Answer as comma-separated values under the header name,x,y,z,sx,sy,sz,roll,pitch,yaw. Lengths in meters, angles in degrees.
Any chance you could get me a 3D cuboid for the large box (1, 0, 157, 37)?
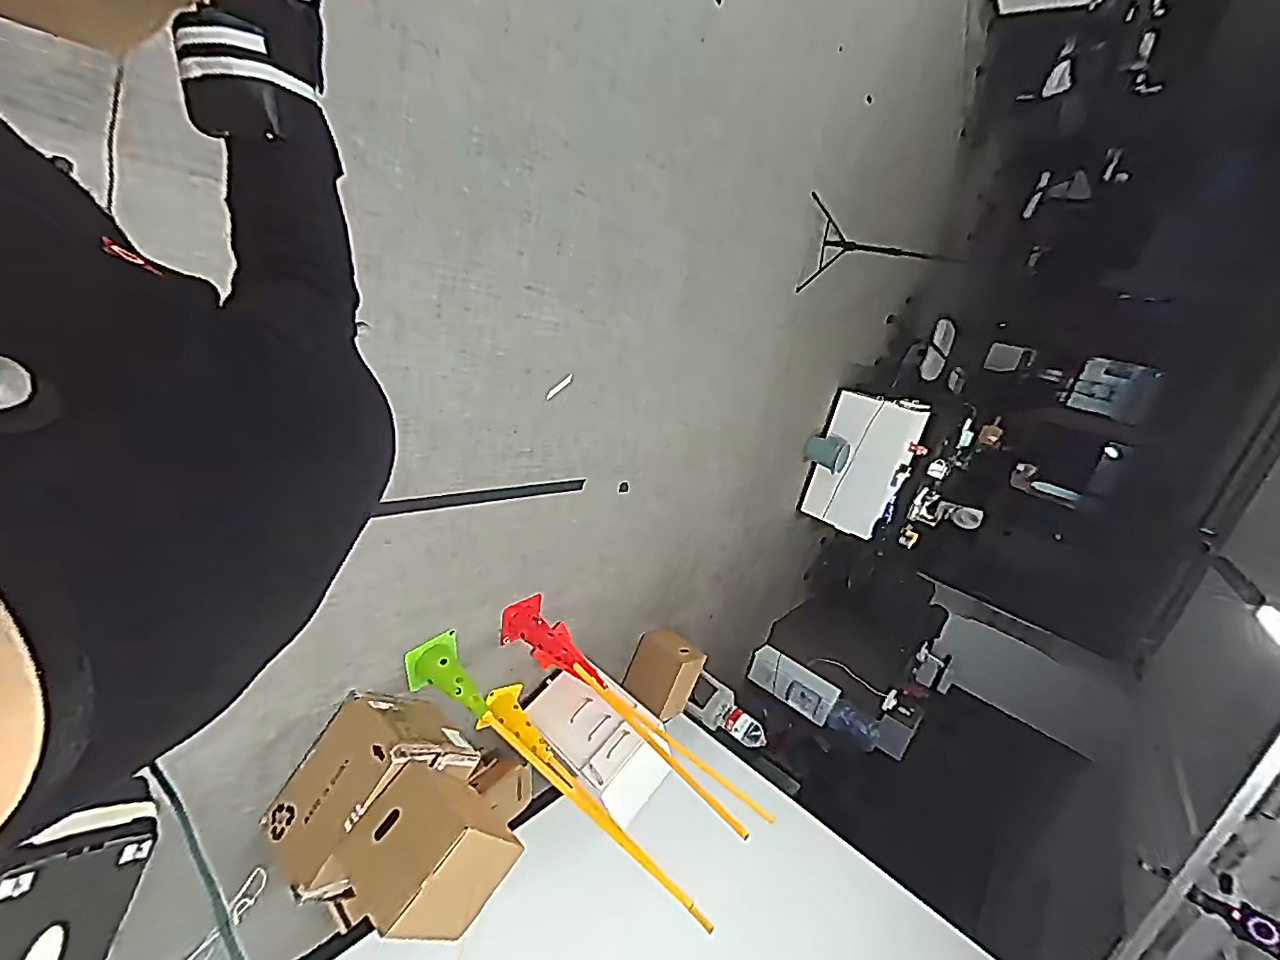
name,x,y,z,sx,sy,sz,roll,pitch,yaw
large box,-0.480,-0.483,0.228,0.408,0.320,0.320,-13,117,-50
